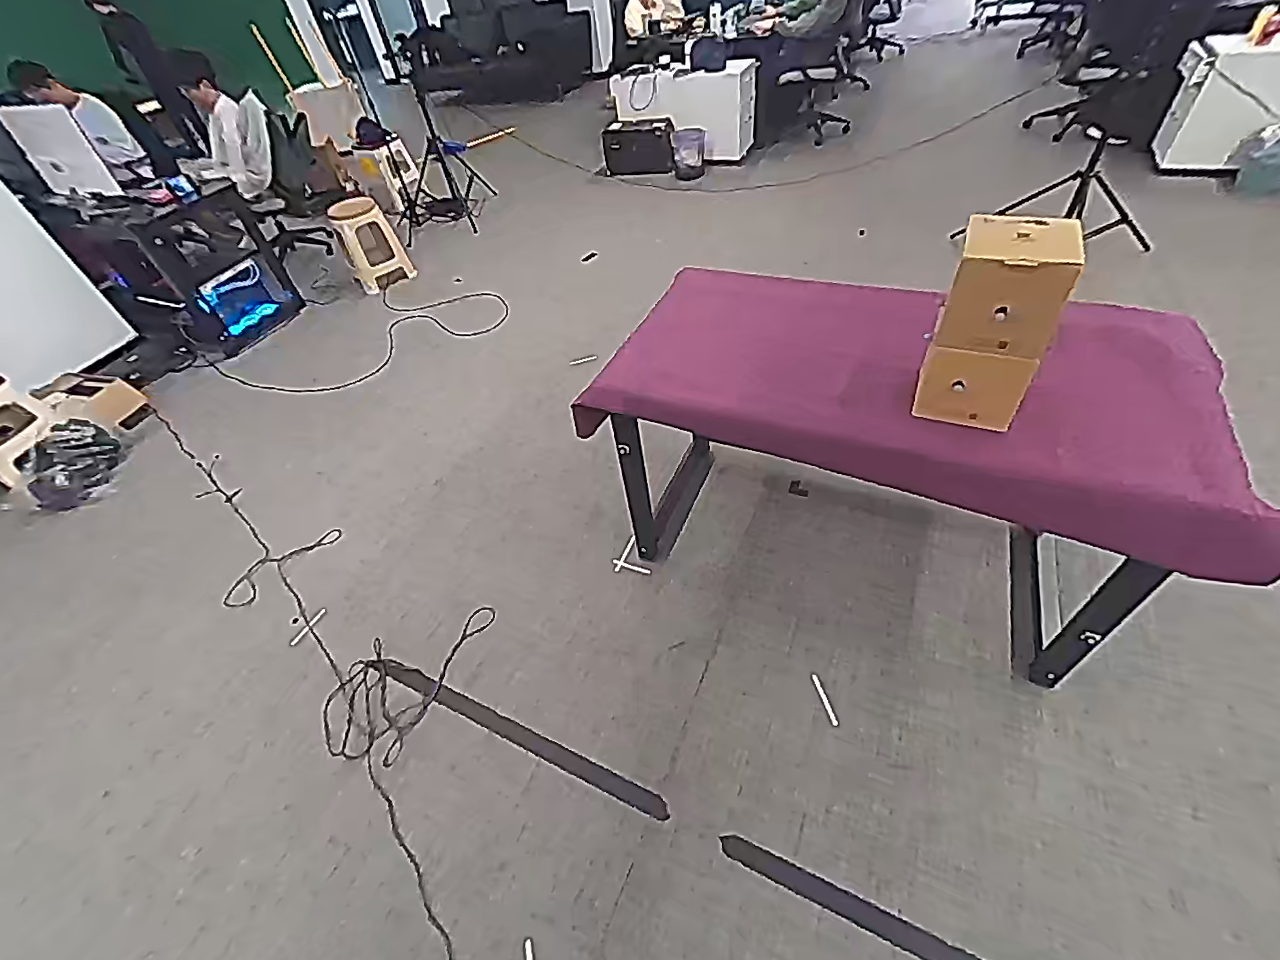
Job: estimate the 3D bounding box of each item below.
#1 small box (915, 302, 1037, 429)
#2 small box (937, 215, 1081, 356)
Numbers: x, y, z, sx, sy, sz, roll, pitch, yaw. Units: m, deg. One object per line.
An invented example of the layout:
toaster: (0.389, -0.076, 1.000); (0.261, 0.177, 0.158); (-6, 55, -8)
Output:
small box: (0.650, -0.223, 1.057); (0.168, 0.176, 0.179); (15, 50, 22)
small box: (0.634, -0.338, 0.941); (0.168, 0.176, 0.179); (16, 51, 23)
